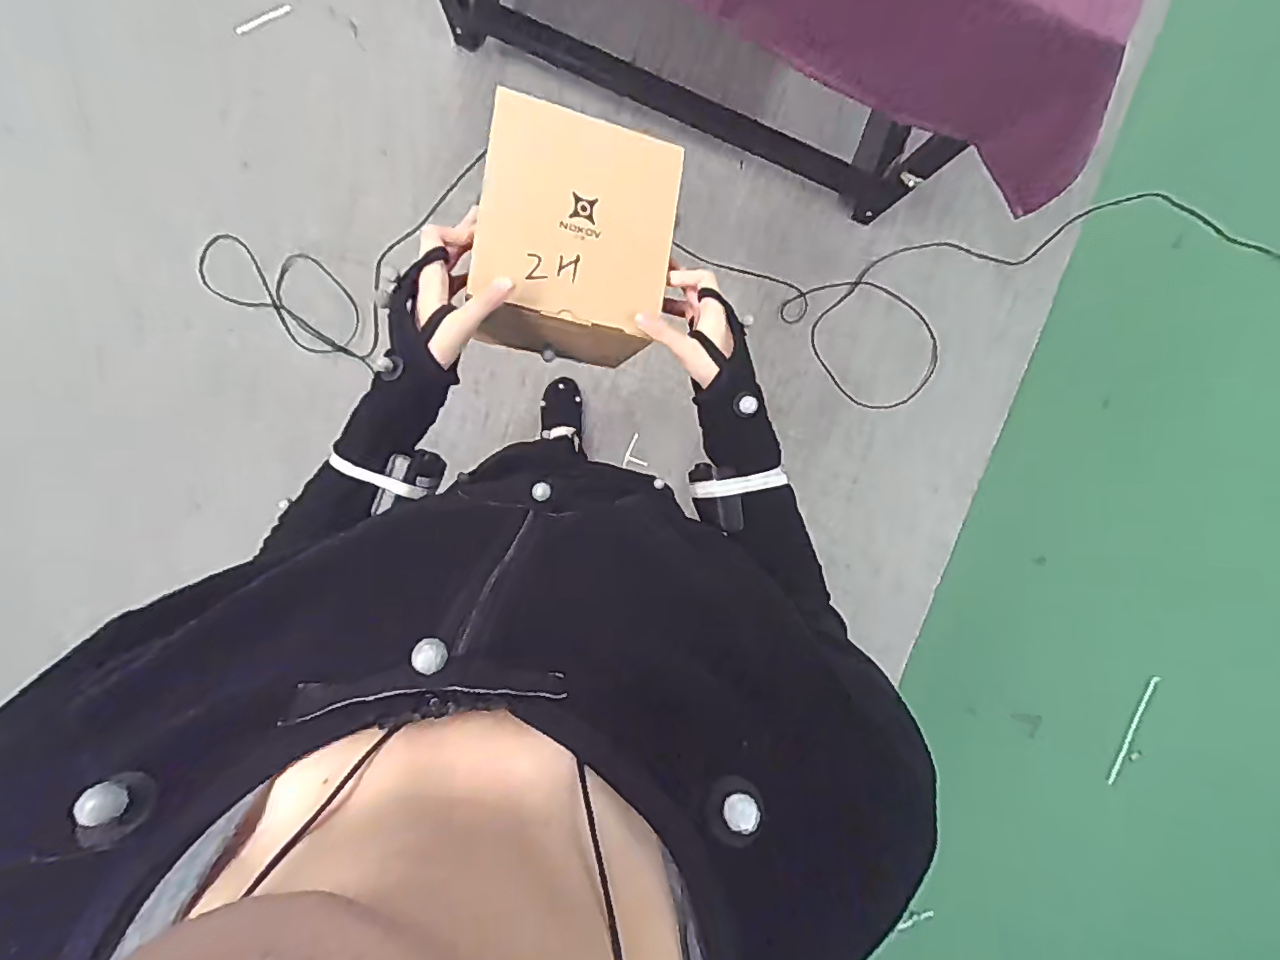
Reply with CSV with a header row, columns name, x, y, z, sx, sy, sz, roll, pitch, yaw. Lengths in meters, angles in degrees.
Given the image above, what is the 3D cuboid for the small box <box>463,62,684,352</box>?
name,x,y,z,sx,sy,sz,roll,pitch,yaw
small box,-0.072,-0.240,0.528,0.168,0.176,0.179,9,90,-15
